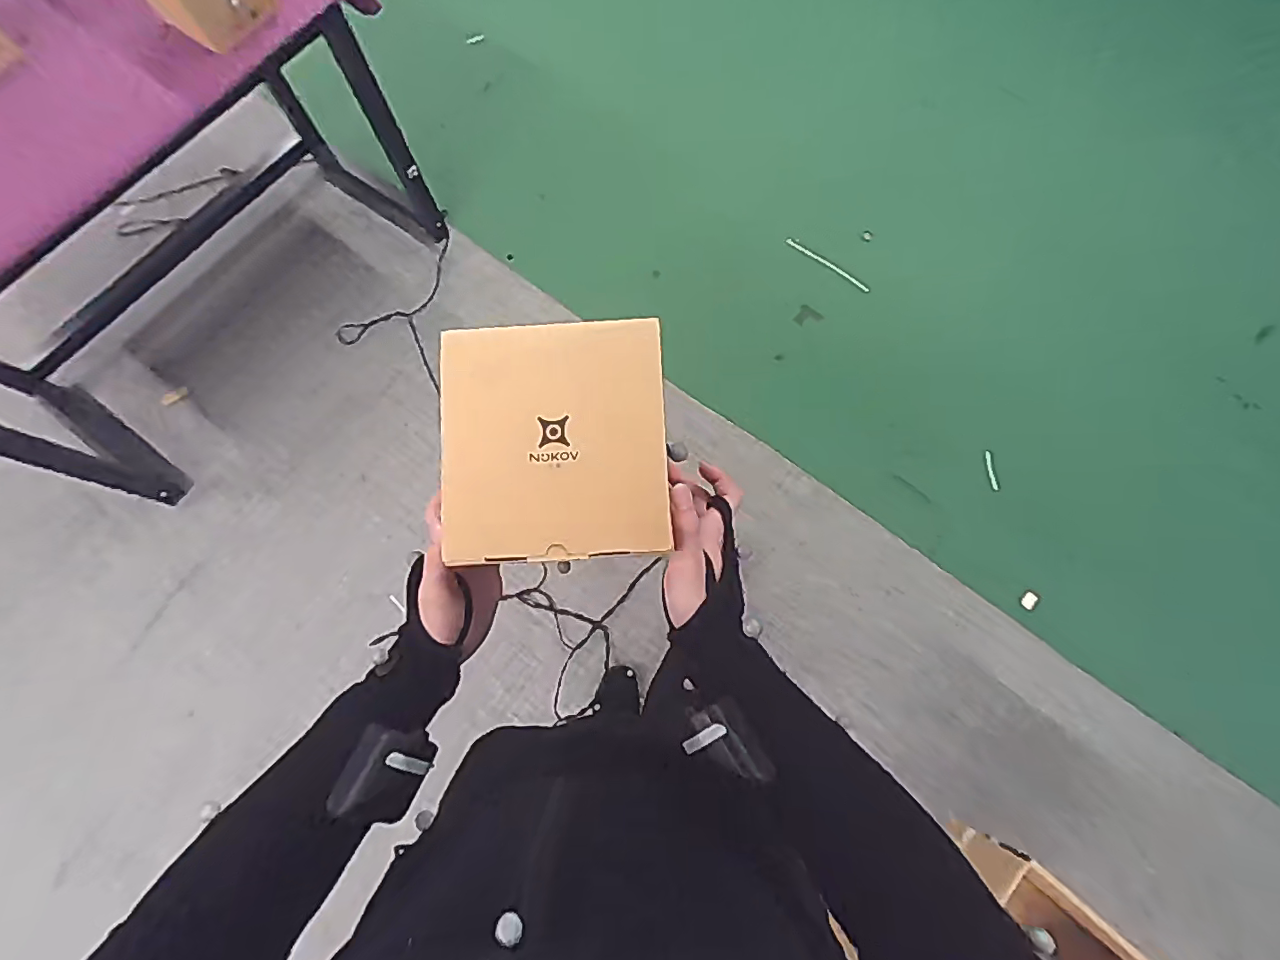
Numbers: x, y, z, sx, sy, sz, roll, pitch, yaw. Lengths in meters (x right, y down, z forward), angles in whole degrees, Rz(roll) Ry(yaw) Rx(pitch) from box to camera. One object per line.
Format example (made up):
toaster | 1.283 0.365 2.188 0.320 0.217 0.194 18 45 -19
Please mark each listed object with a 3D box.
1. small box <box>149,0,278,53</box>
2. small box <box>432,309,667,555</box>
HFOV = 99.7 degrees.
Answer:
small box | -0.846 -0.962 1.018 0.179 0.176 0.168 35 78 9
small box | -0.067 -0.027 0.467 0.168 0.176 0.179 -4 83 0
